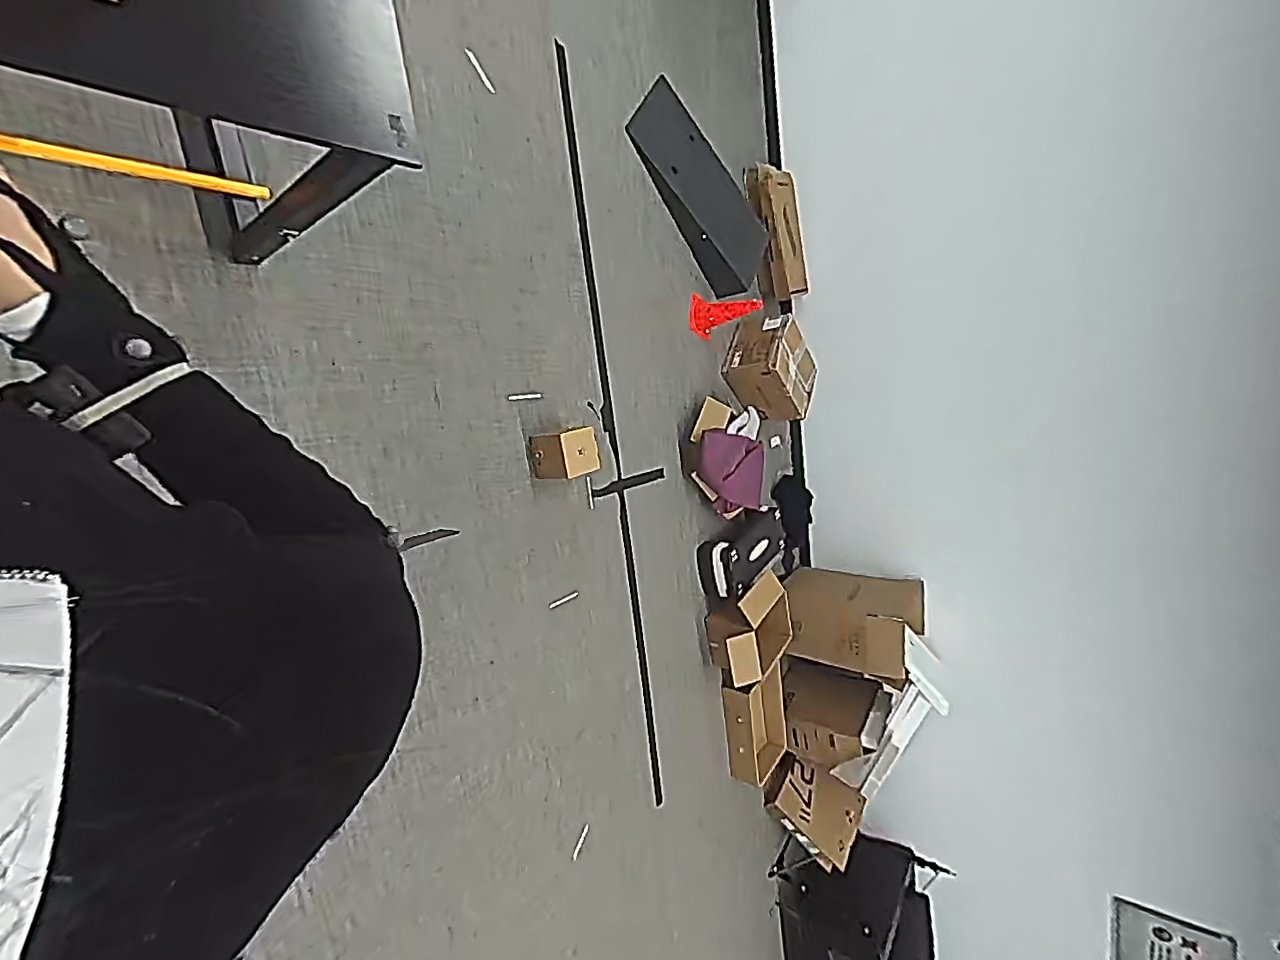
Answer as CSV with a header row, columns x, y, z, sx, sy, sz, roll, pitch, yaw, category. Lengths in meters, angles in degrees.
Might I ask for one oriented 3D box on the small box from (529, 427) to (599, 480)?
x,y,z,sx,sy,sz,roll,pitch,yaw,category
-0.283,-0.101,2.006,0.179,0.176,0.168,-23,107,-48,small box
